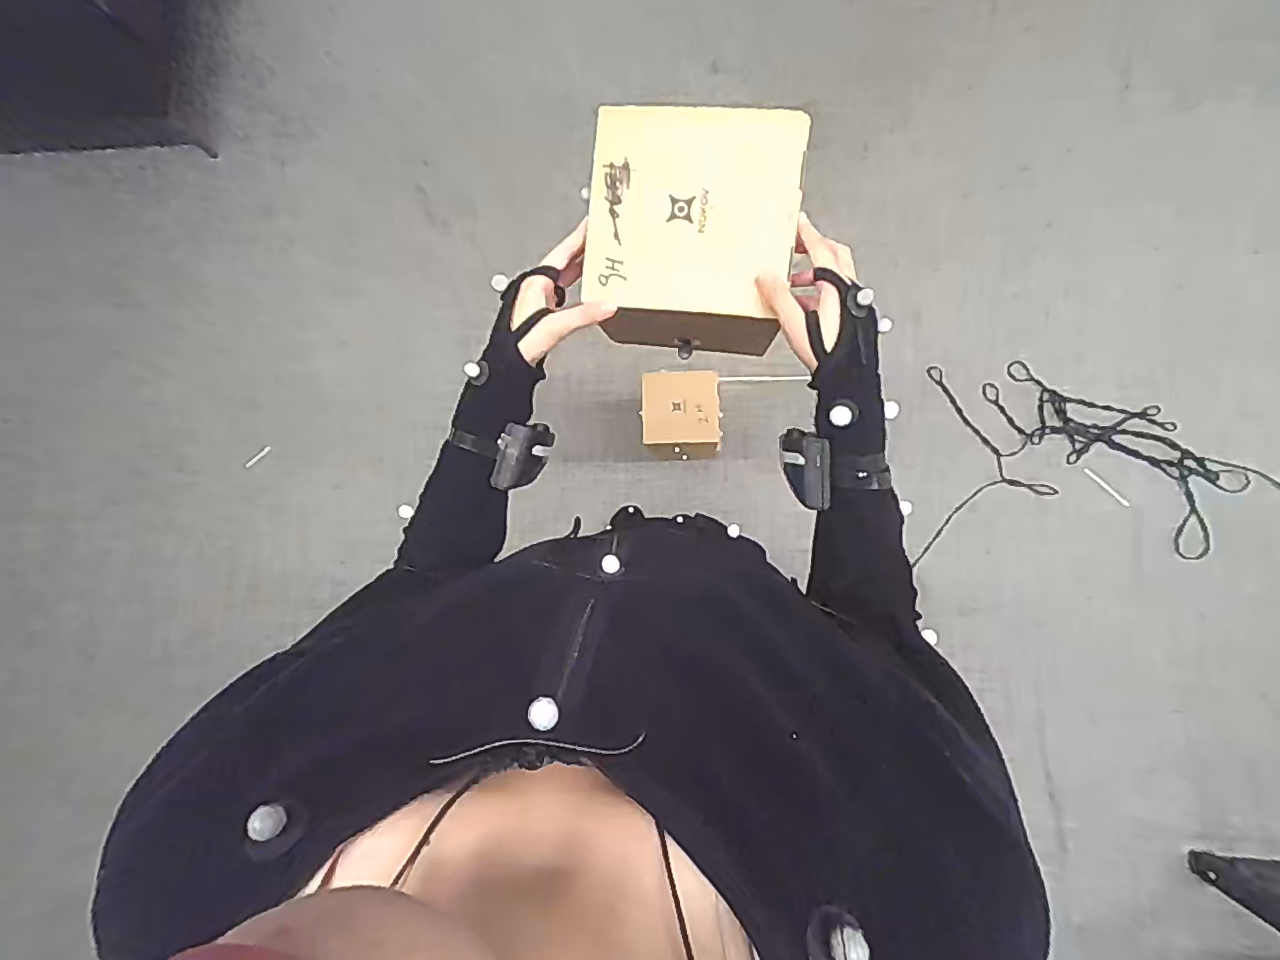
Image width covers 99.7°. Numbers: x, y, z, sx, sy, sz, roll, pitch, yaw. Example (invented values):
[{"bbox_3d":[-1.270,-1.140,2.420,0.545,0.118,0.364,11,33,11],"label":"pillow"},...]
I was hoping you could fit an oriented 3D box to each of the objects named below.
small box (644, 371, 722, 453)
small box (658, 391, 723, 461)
[{"bbox_3d":[0.105,-0.155,1.290,0.179,0.176,0.168,-1,86,5],"label":"small box"},{"bbox_3d":[0.132,-0.141,1.452,0.179,0.176,0.168,-1,85,5],"label":"small box"}]
